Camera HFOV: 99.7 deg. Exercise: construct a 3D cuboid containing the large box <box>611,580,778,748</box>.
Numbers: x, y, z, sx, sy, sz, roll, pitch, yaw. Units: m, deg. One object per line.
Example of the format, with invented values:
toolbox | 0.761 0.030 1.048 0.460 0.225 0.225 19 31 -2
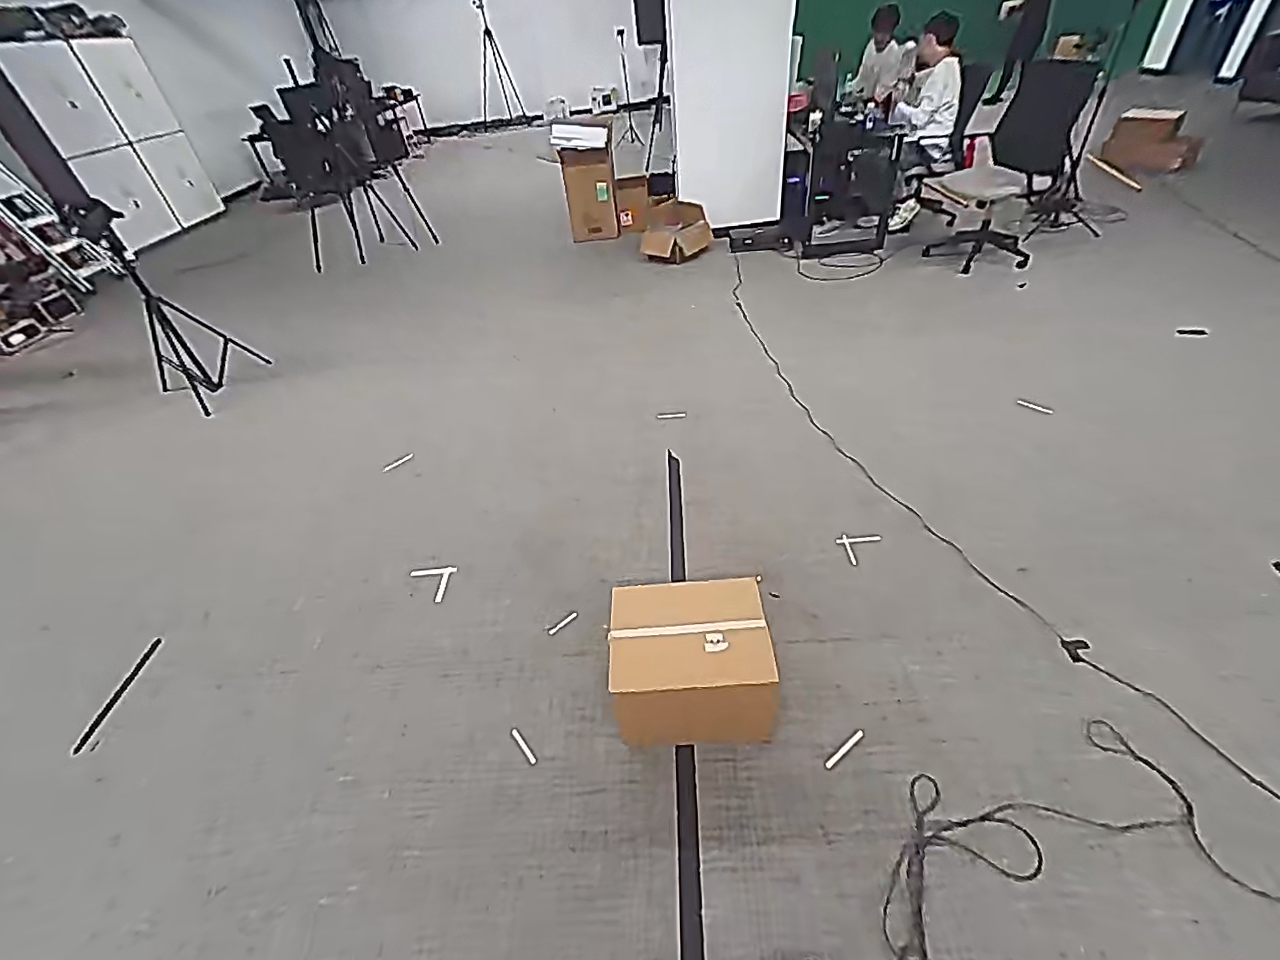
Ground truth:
large box | 0.138 0.506 1.484 0.408 0.320 0.320 -5 41 3
